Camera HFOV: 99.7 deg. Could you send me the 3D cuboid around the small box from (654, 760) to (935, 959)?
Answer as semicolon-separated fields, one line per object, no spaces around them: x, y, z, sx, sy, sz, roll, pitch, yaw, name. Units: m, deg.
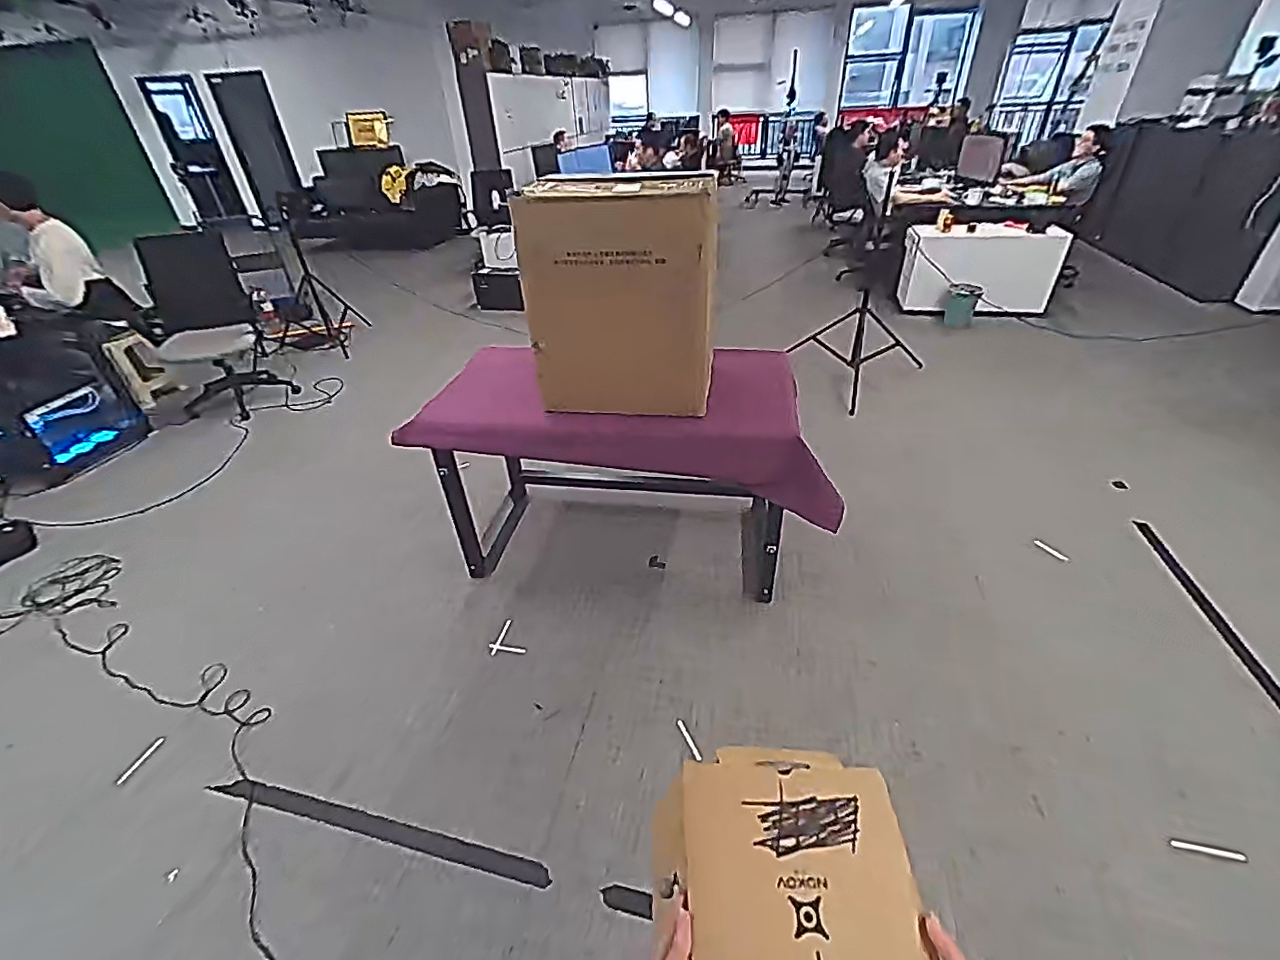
0.102;0.344;0.421;0.168;0.176;0.179;4;43;-4;small box
